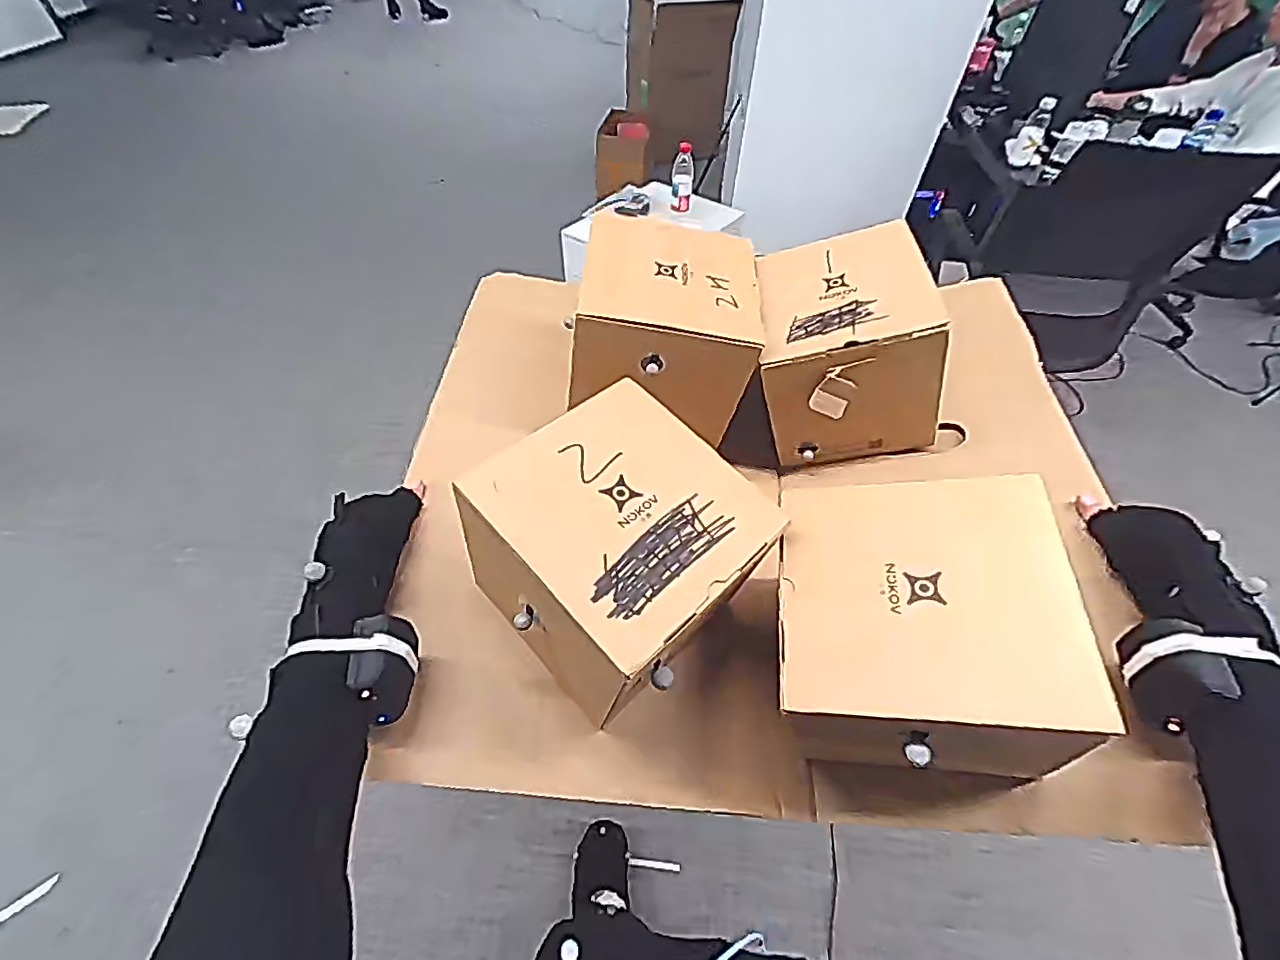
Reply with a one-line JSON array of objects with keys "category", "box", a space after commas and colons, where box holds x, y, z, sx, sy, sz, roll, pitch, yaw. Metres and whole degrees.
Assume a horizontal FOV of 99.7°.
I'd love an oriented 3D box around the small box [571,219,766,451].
[{"category": "small box", "box": [0.022, -0.149, 0.592, 0.179, 0.176, 0.168, 8, 56, -6]}]
